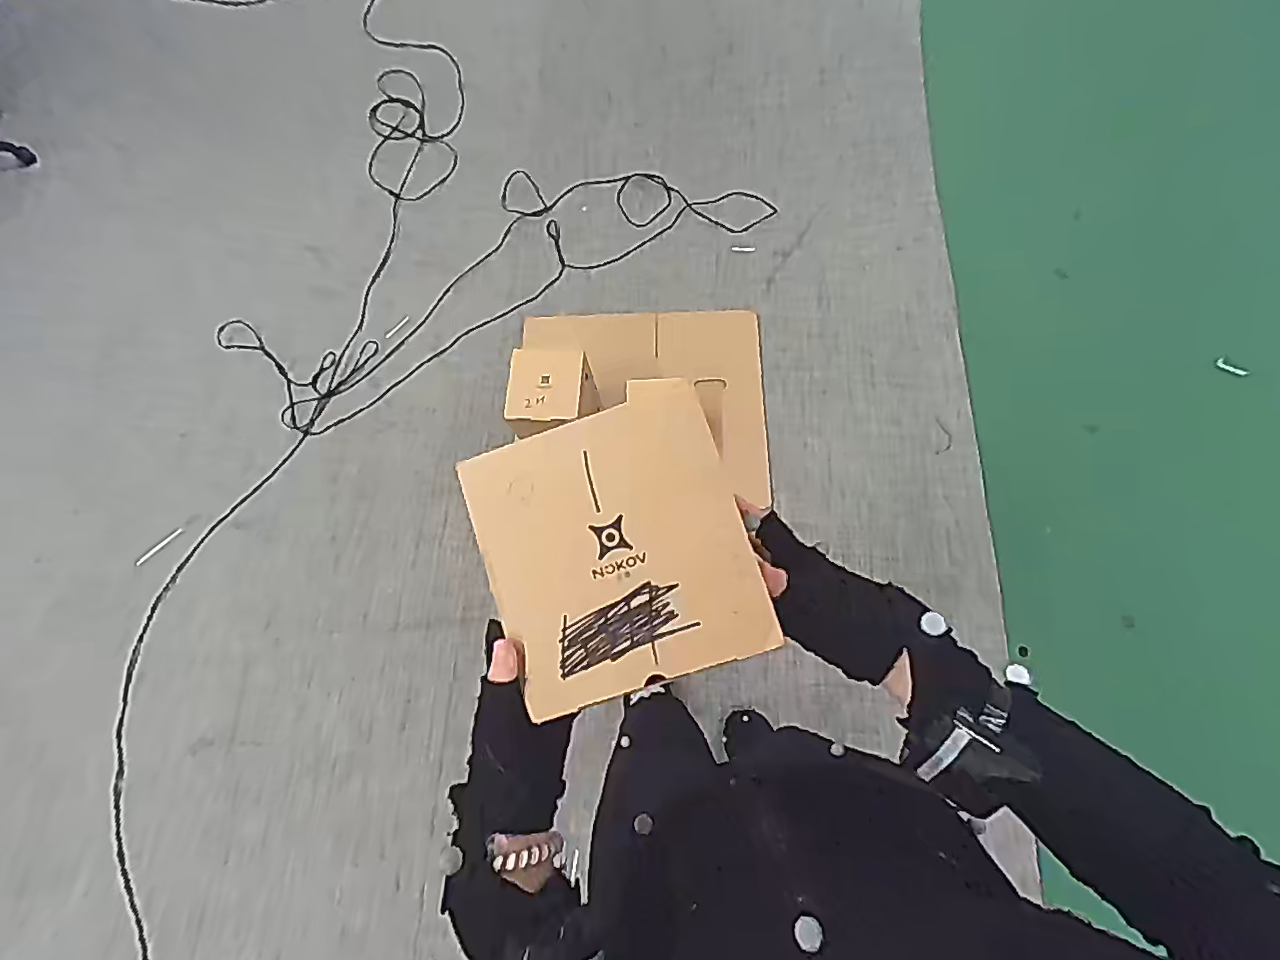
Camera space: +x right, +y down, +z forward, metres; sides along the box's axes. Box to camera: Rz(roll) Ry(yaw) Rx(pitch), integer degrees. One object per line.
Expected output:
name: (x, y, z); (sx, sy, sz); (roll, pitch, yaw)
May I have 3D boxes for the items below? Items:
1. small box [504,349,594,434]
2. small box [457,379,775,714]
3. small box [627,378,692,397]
small box: (-0.204, -0.187, 1.268); (0.168, 0.176, 0.179); (2, 73, 5)
small box: (-0.010, 0.046, 0.419); (0.168, 0.176, 0.179); (-19, 84, 4)
small box: (0.052, -0.149, 1.415); (0.168, 0.176, 0.179); (-2, 73, 2)
